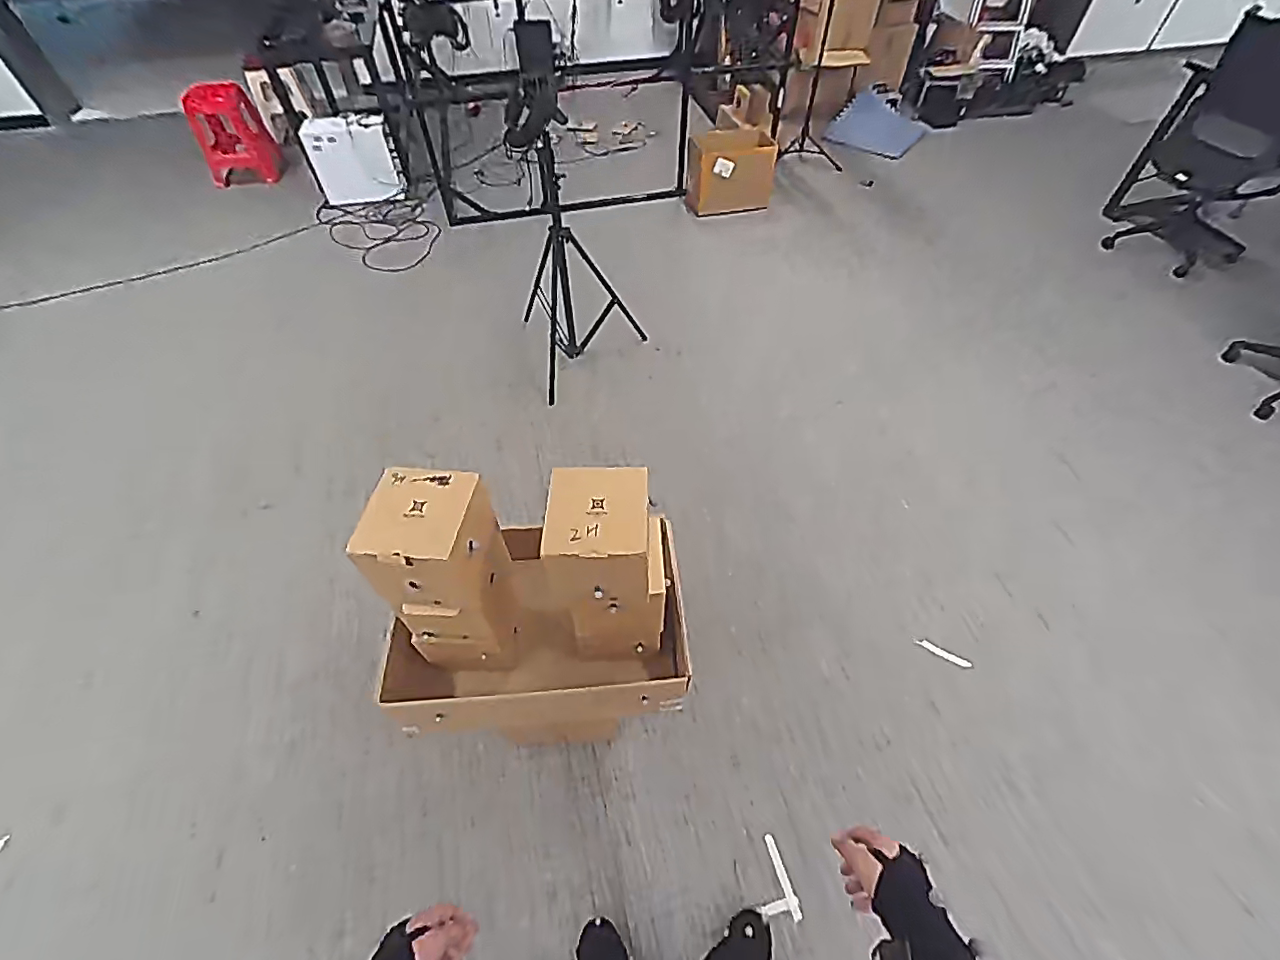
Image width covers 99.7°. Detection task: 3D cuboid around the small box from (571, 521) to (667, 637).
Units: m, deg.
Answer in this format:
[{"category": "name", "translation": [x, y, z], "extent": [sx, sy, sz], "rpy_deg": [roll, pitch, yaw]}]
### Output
[{"category": "small box", "translation": [-0.042, 0.197, 1.067], "extent": [0.179, 0.176, 0.168], "rpy_deg": [-3, 50, -2]}]

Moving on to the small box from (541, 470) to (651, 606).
[{"category": "small box", "translation": [-0.066, 0.101, 0.935], "extent": [0.168, 0.176, 0.179], "rpy_deg": [0, 52, 2]}]

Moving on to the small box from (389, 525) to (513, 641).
[{"category": "small box", "translation": [-0.358, 0.204, 1.064], "extent": [0.168, 0.176, 0.179], "rpy_deg": [2, 51, 2]}]

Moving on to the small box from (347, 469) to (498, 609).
[{"category": "small box", "translation": [-0.357, 0.105, 0.932], "extent": [0.168, 0.176, 0.179], "rpy_deg": [5, 52, 4]}]
